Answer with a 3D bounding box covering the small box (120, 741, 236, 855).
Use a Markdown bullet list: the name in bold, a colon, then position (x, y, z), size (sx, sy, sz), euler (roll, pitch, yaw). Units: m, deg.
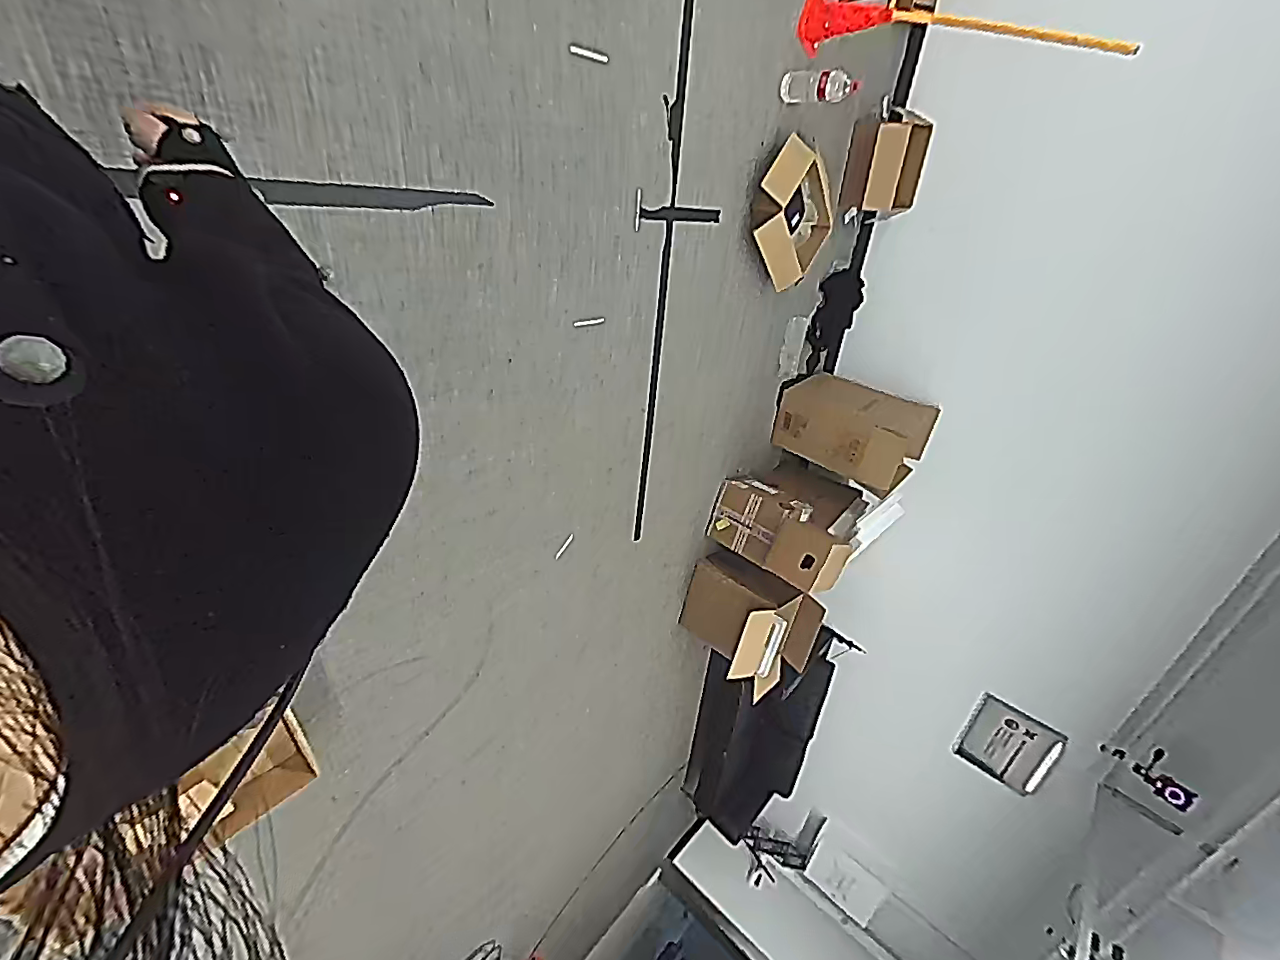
- **small box**: position (-1.238, 0.844, 1.450), size (0.168, 0.176, 0.179), euler (-35, 137, -36)
